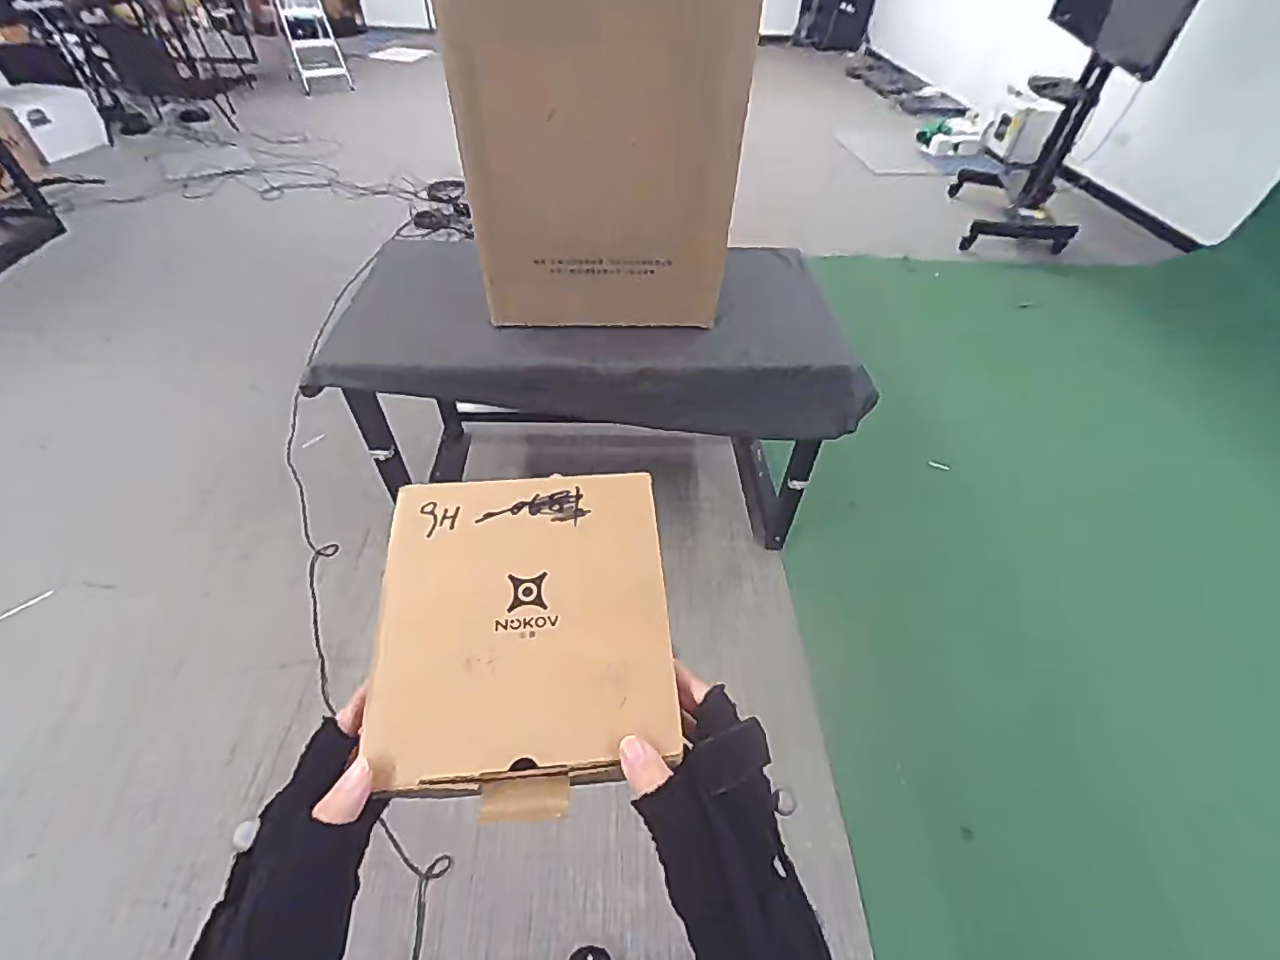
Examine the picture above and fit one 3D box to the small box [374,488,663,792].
[{"bbox_3d":[-0.077,0.127,0.410,0.168,0.176,0.179,-5,59,-6],"label":"small box"}]
